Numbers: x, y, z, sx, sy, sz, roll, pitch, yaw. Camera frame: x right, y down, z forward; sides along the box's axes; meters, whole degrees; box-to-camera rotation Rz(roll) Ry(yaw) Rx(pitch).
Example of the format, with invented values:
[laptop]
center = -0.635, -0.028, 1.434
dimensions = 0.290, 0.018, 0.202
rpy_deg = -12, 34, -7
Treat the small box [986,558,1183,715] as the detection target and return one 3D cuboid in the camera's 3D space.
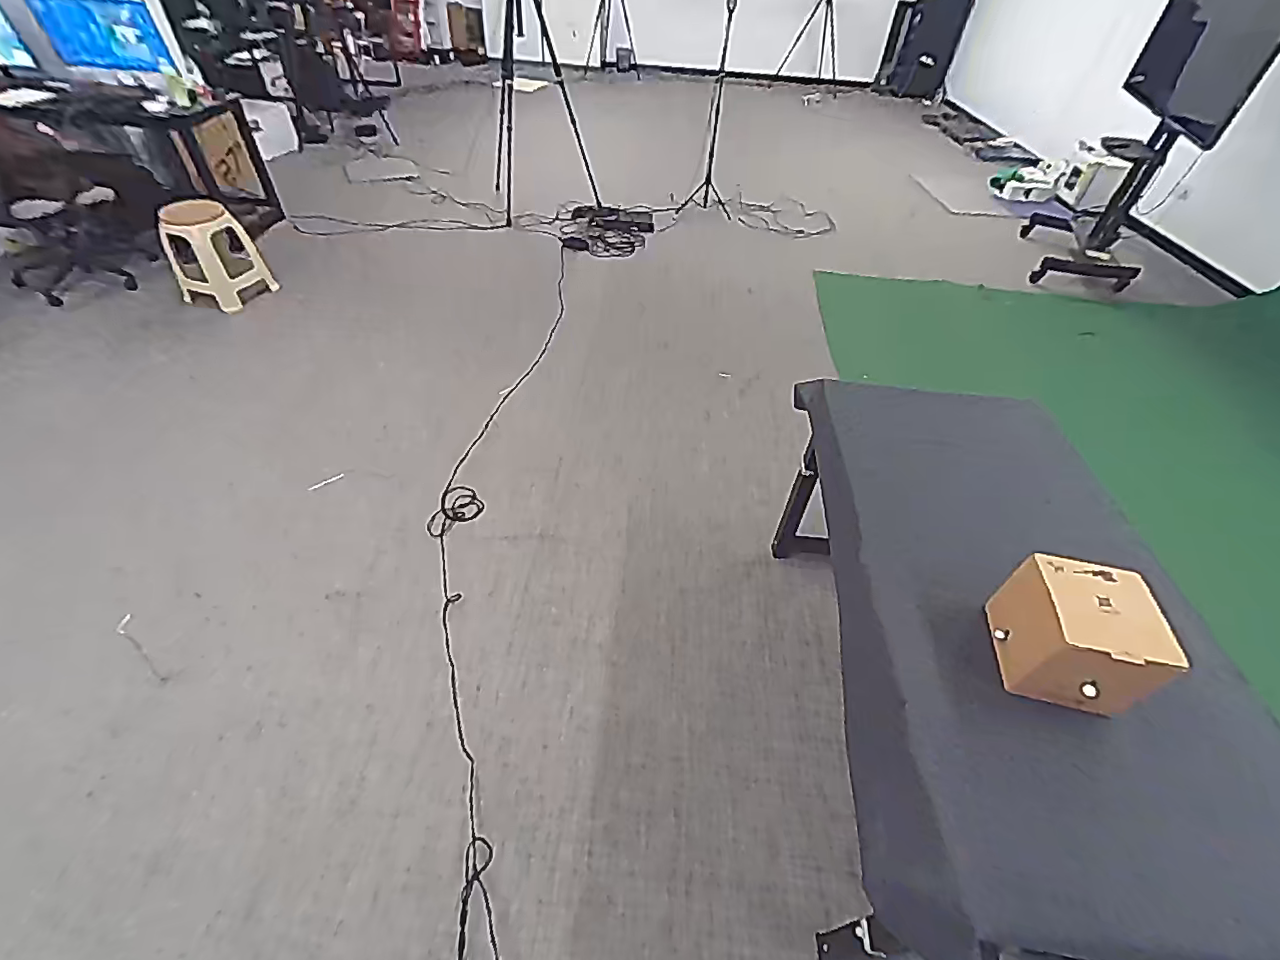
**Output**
[small box]
center = 0.708, 0.260, 0.890
dimensions = 0.168, 0.176, 0.179
rpy_deg = 12, 46, 7
